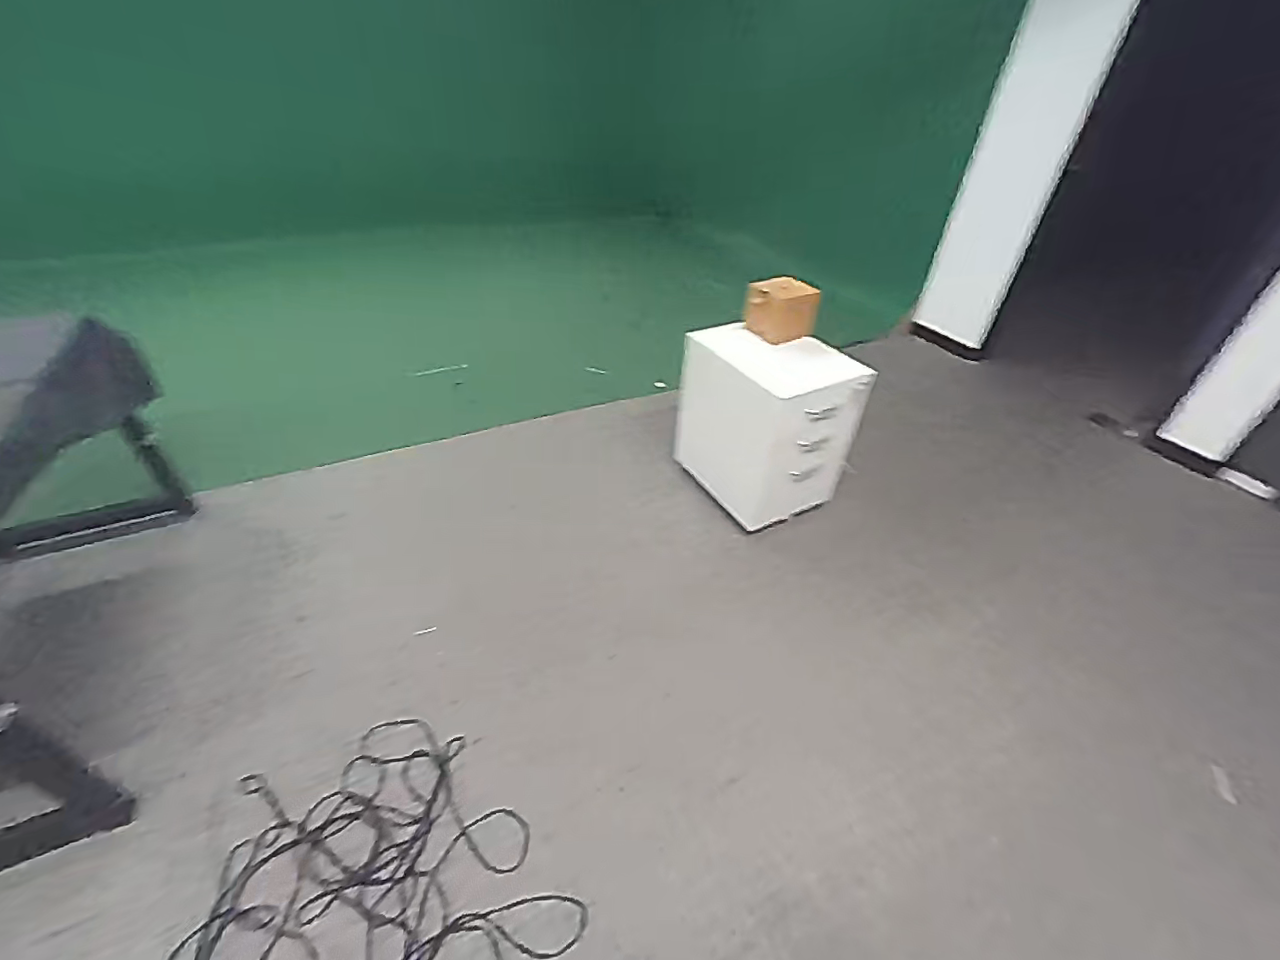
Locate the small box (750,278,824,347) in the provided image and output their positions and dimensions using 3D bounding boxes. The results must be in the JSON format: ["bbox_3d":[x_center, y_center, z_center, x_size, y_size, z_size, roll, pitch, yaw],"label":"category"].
[{"bbox_3d":[0.512,-0.593,1.914,0.179,0.176,0.168,-20,45,-23],"label":"small box"}]
